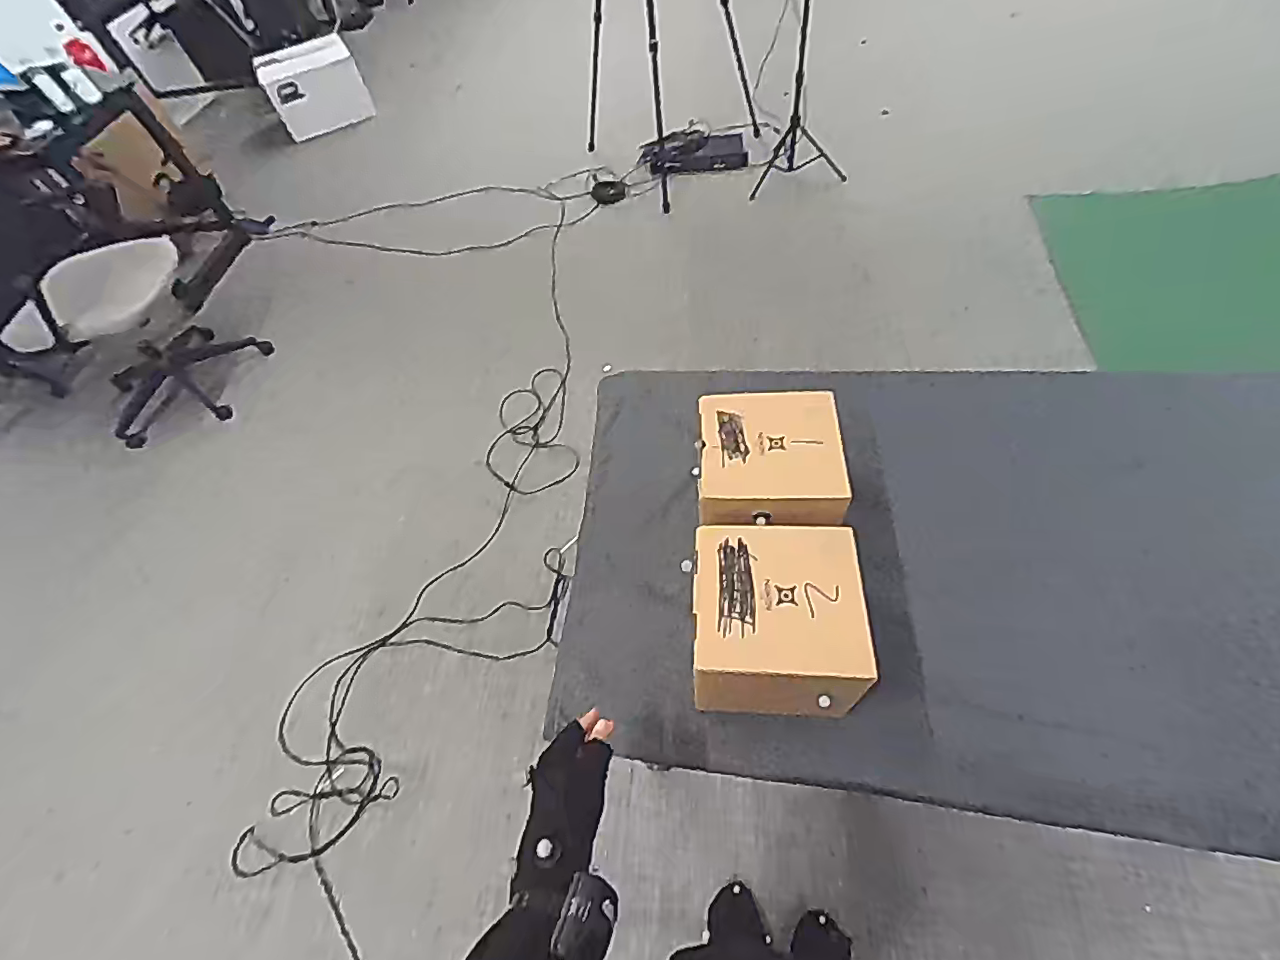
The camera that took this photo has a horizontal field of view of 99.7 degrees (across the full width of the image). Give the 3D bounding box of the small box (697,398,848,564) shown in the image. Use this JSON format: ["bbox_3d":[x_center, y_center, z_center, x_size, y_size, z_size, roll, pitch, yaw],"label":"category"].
[{"bbox_3d":[0.170,0.007,0.740,0.179,0.176,0.168,-1,56,8],"label":"small box"}]
